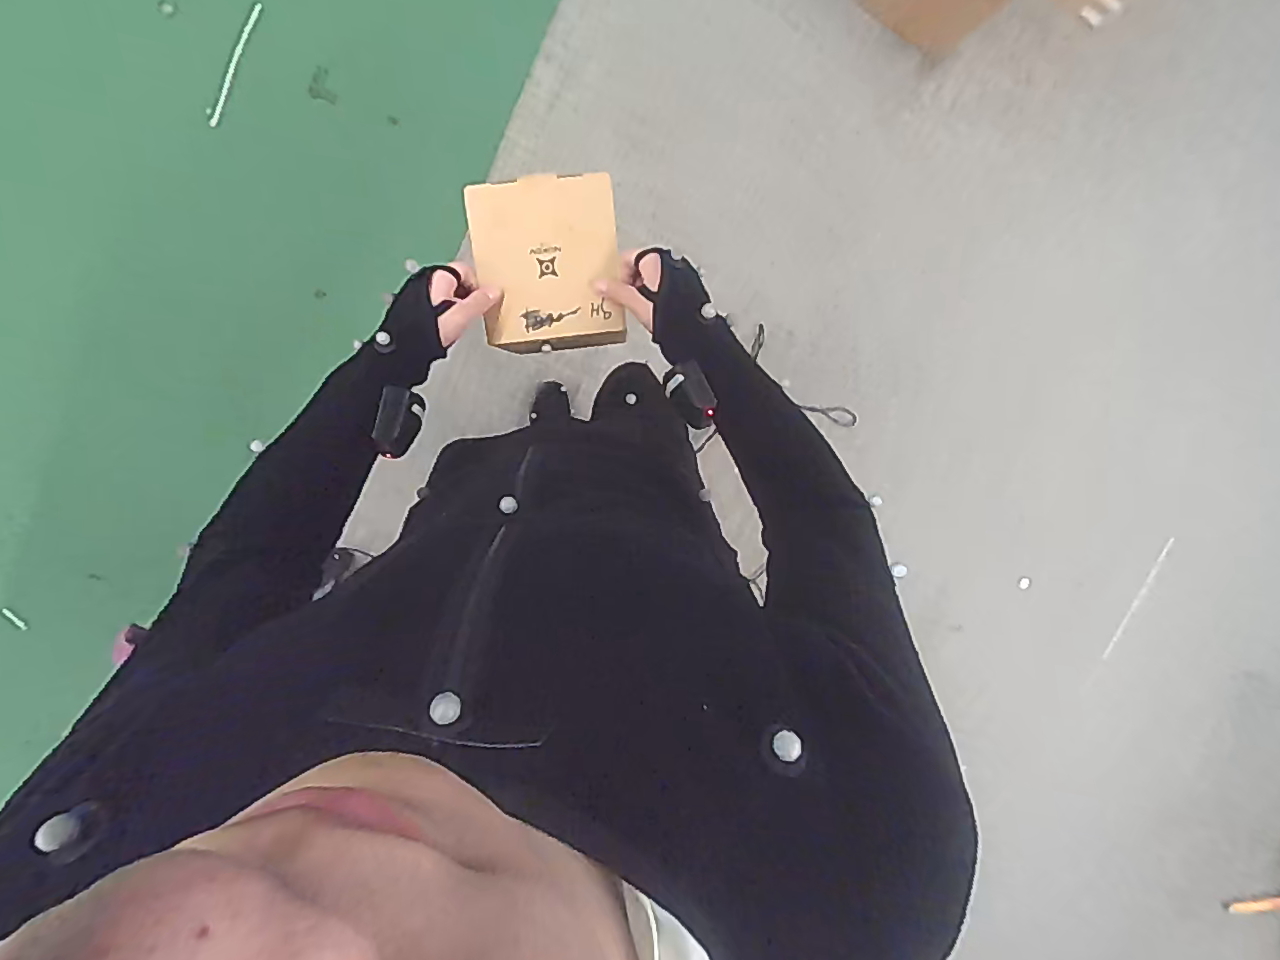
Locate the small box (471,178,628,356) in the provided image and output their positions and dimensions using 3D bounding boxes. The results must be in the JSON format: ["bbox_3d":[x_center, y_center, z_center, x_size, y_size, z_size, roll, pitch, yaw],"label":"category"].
[{"bbox_3d":[-0.105,-0.260,0.696,0.168,0.176,0.179,-6,100,-1],"label":"small box"}]
